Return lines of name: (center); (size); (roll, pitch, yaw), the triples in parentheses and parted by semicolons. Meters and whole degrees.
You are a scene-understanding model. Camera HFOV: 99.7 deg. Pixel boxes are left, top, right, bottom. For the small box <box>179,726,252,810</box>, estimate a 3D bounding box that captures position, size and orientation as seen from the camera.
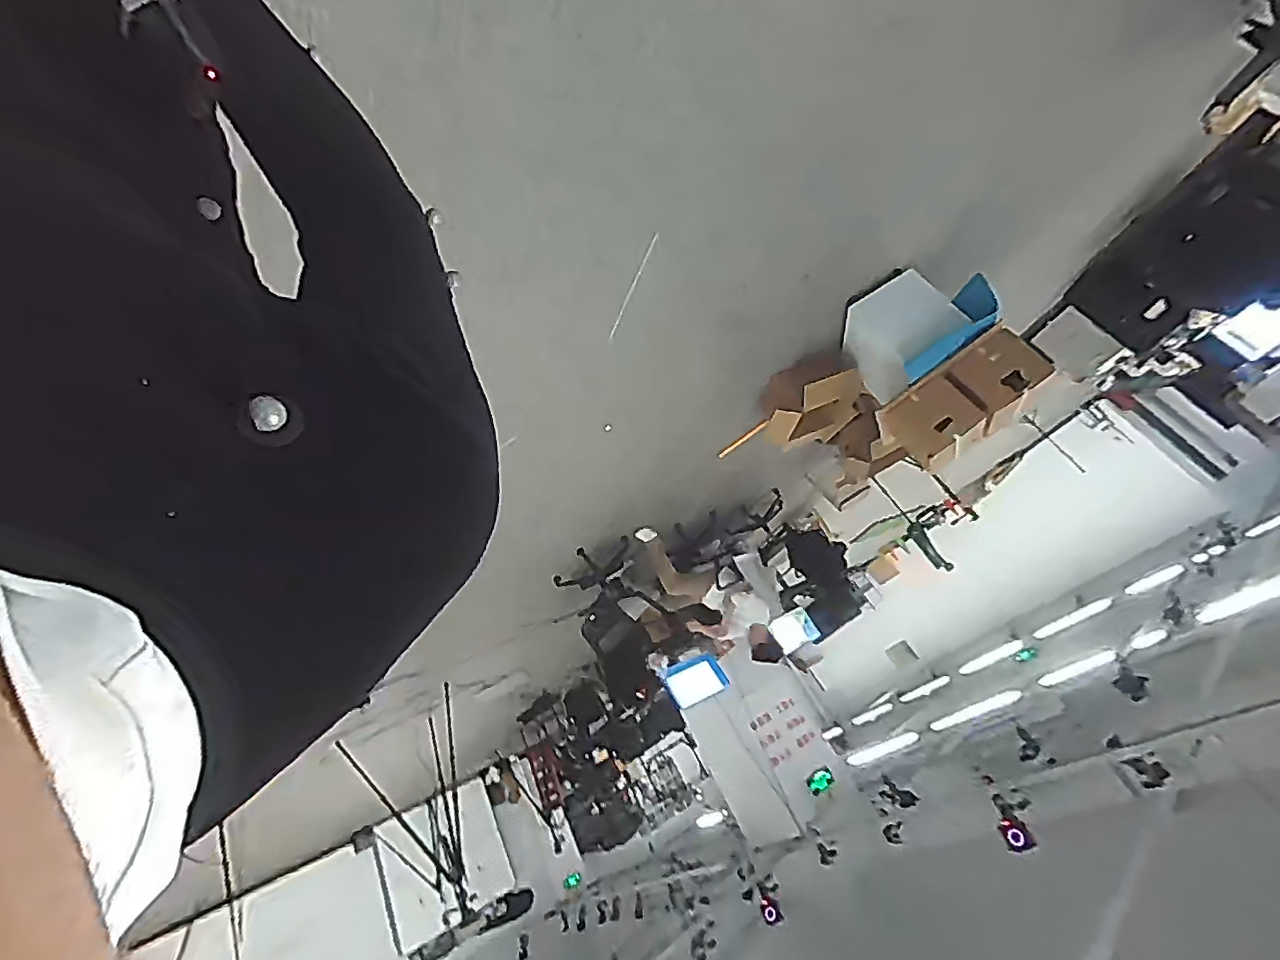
small box: (-1.366, 0.920, 1.742); (0.168, 0.176, 0.179); (-8, 145, -38)
